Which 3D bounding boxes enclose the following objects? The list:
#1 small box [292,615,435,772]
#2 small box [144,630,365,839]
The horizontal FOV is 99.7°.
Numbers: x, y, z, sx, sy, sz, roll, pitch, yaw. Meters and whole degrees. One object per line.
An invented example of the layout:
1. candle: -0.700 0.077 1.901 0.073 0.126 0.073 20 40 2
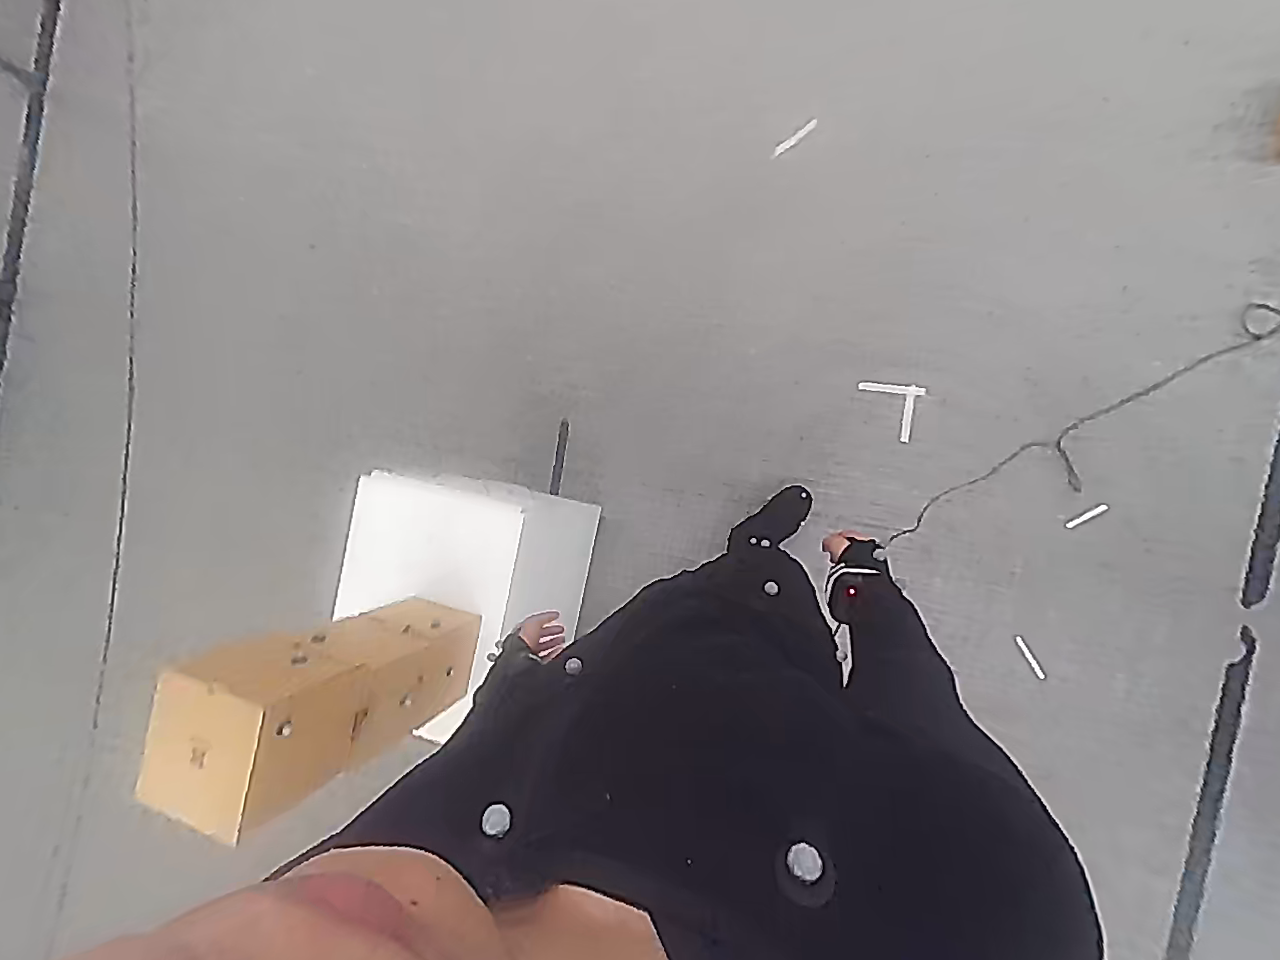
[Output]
1. small box: -0.476 0.337 0.894 0.179 0.176 0.168 14 93 13
2. small box: -0.508 0.327 0.734 0.168 0.176 0.179 13 92 13
